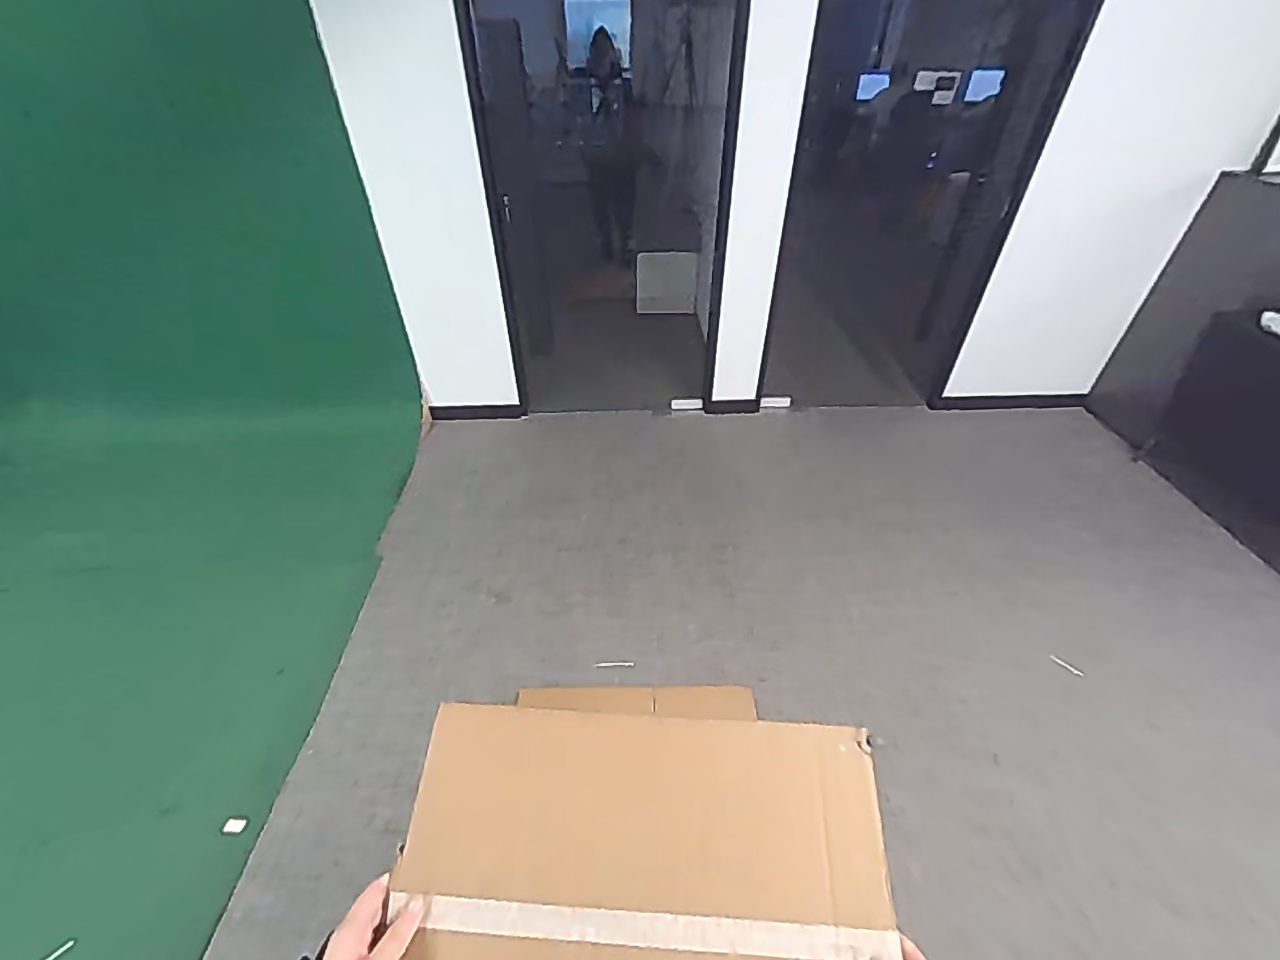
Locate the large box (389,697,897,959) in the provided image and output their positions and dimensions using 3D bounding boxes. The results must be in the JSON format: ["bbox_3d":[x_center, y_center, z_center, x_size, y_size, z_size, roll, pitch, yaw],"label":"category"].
[{"bbox_3d":[0.004,0.425,0.563,0.408,0.320,0.320,2,59,2],"label":"large box"}]
